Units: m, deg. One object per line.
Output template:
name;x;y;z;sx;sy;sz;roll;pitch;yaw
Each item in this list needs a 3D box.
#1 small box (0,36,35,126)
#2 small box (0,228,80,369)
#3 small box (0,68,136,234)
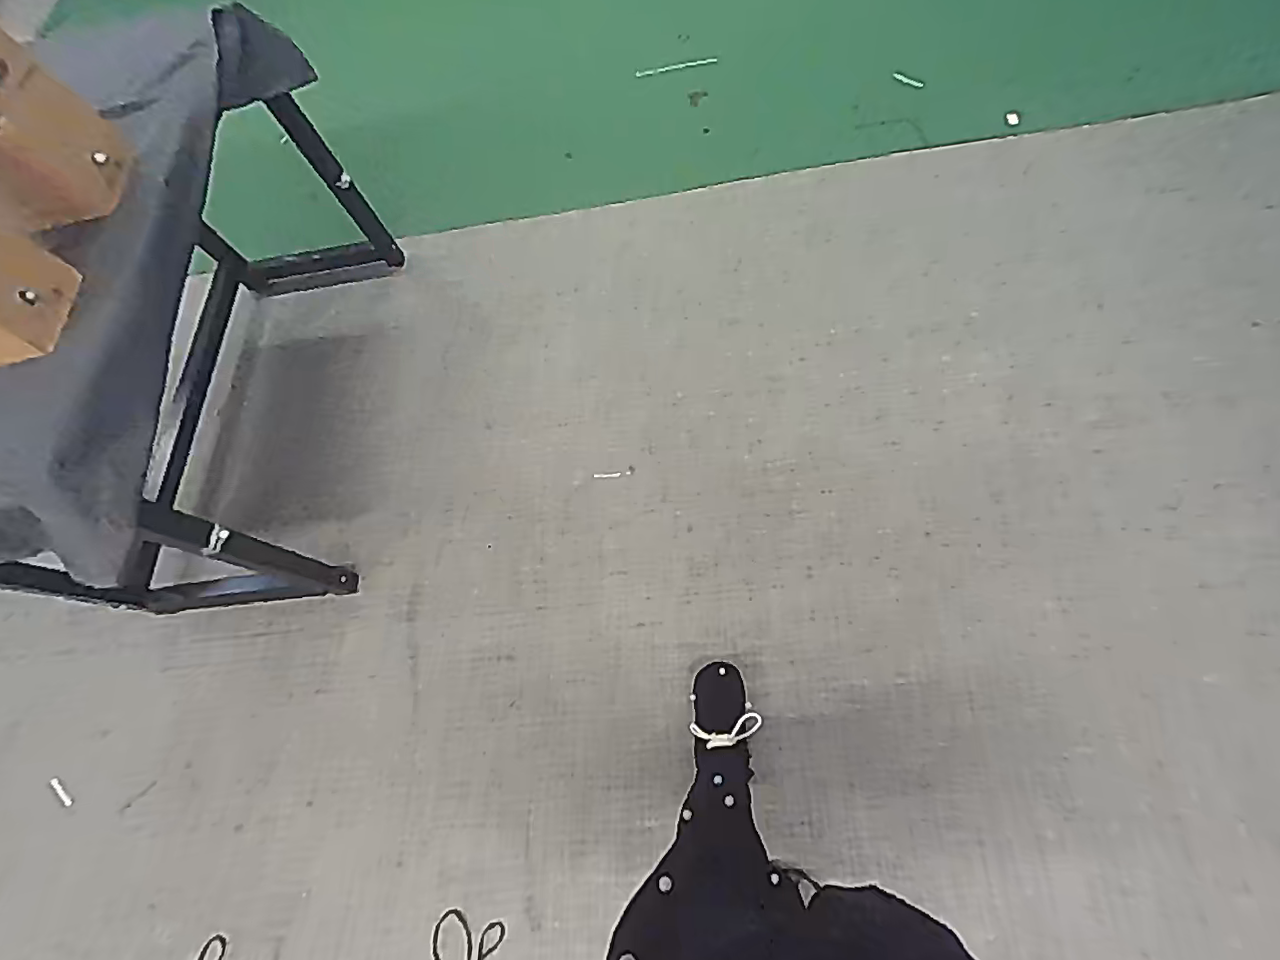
small box;-1.062;-0.610;0.775;0.179;0.176;0.168;-7;68;6
small box;-1.022;-0.276;0.806;0.179;0.176;0.168;-10;65;4
small box;-1.038;-0.550;0.924;0.179;0.176;0.168;-8;66;5
